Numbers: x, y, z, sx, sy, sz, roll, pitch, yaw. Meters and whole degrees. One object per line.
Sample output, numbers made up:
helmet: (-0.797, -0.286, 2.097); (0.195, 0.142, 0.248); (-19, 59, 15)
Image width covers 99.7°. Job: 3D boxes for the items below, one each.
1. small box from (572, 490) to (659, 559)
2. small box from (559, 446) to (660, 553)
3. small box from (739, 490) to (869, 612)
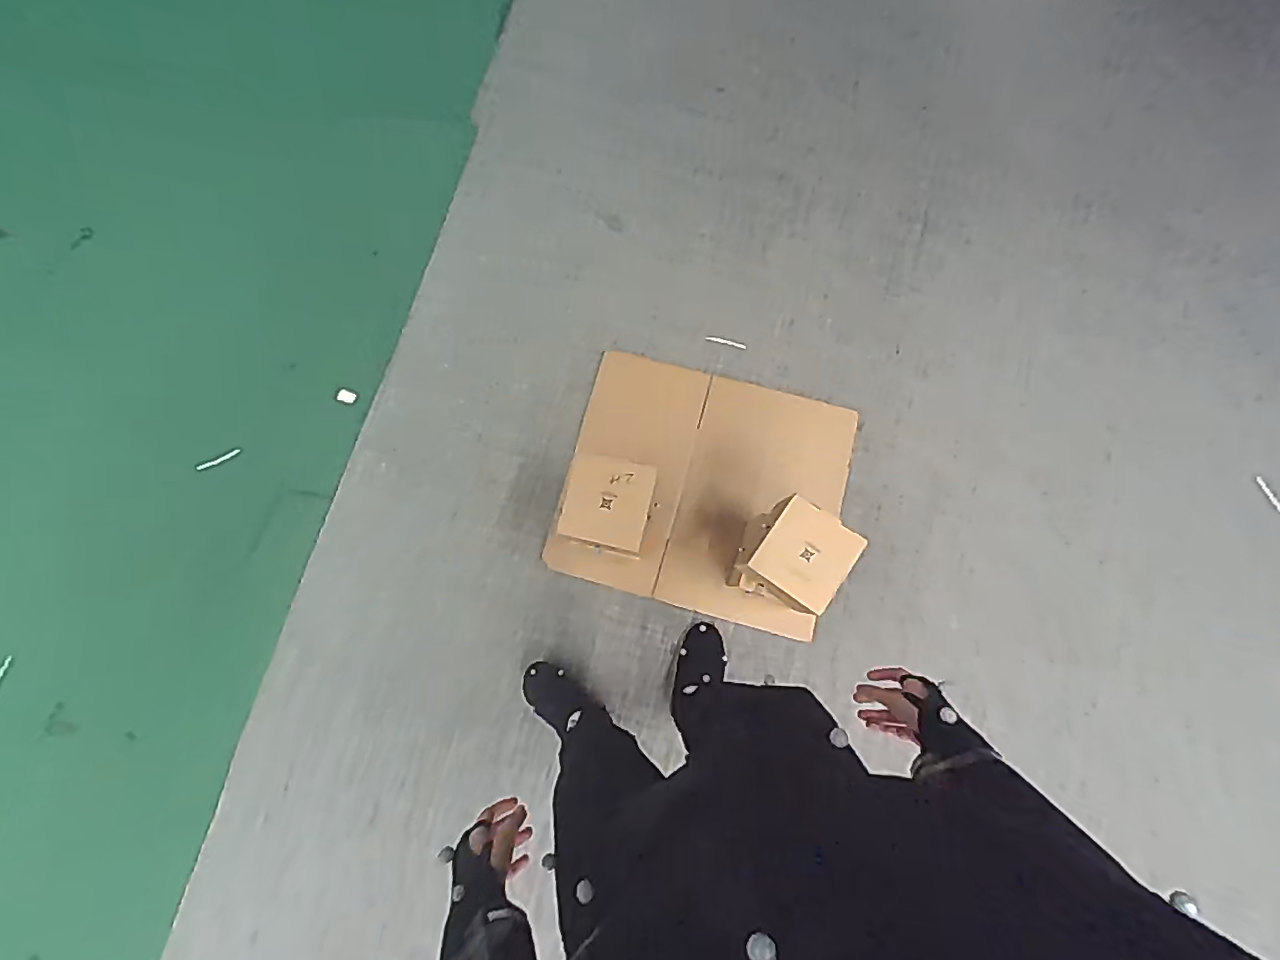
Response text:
small box: (-0.051, 0.086, 1.291); (0.168, 0.176, 0.179); (13, 79, 4)
small box: (-0.056, 0.049, 1.130); (0.168, 0.176, 0.179); (14, 79, 3)
small box: (0.322, 0.146, 1.100); (0.168, 0.176, 0.179); (36, 82, 7)
